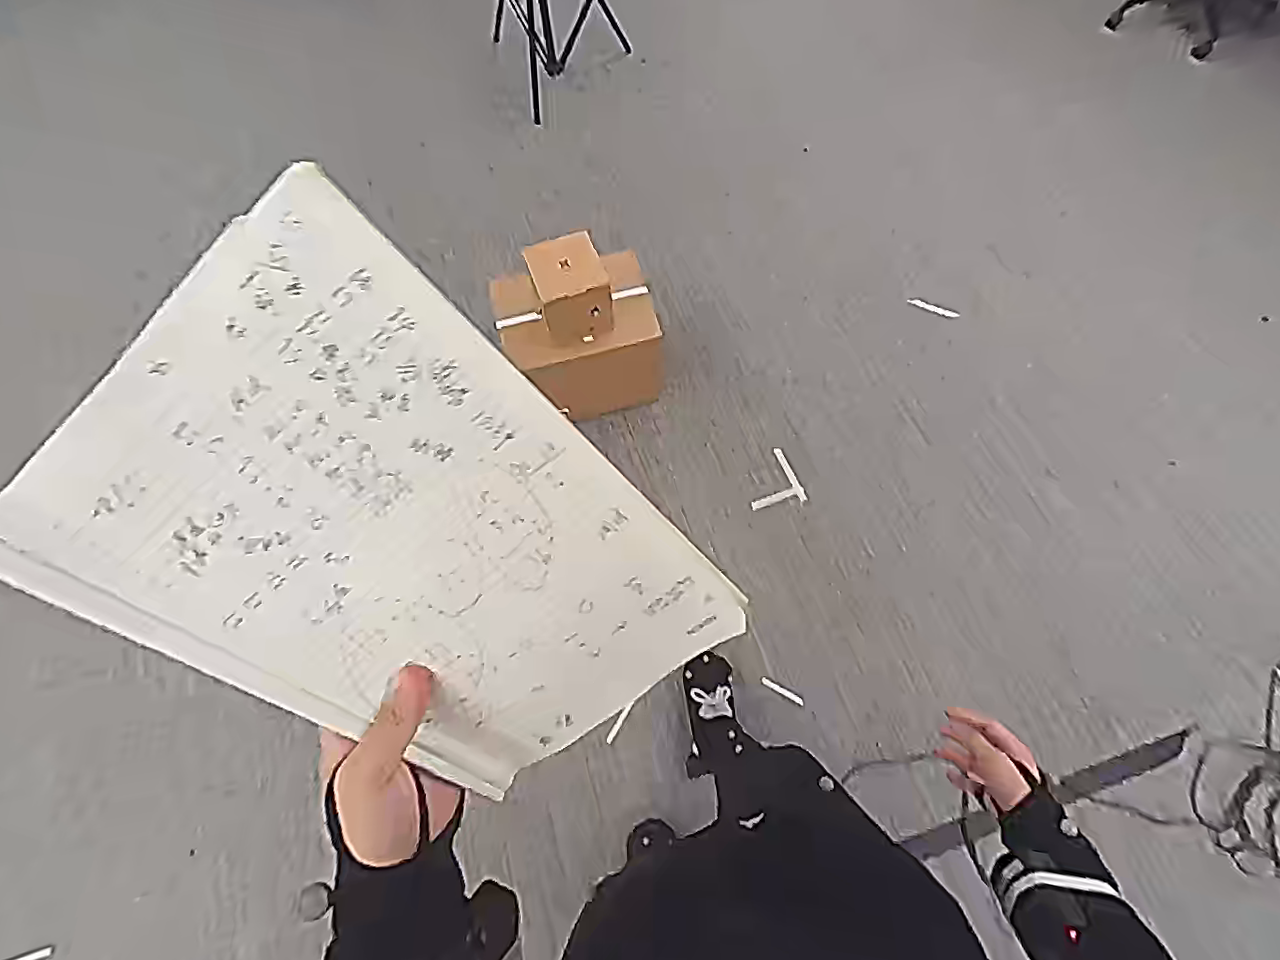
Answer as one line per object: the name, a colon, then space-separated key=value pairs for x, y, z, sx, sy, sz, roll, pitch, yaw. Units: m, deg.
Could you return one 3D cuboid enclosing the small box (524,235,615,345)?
small box: x=-0.166 y=-0.455 z=1.322 sx=0.168 sy=0.176 sz=0.179 roll=-20 pitch=68 yaw=-8
